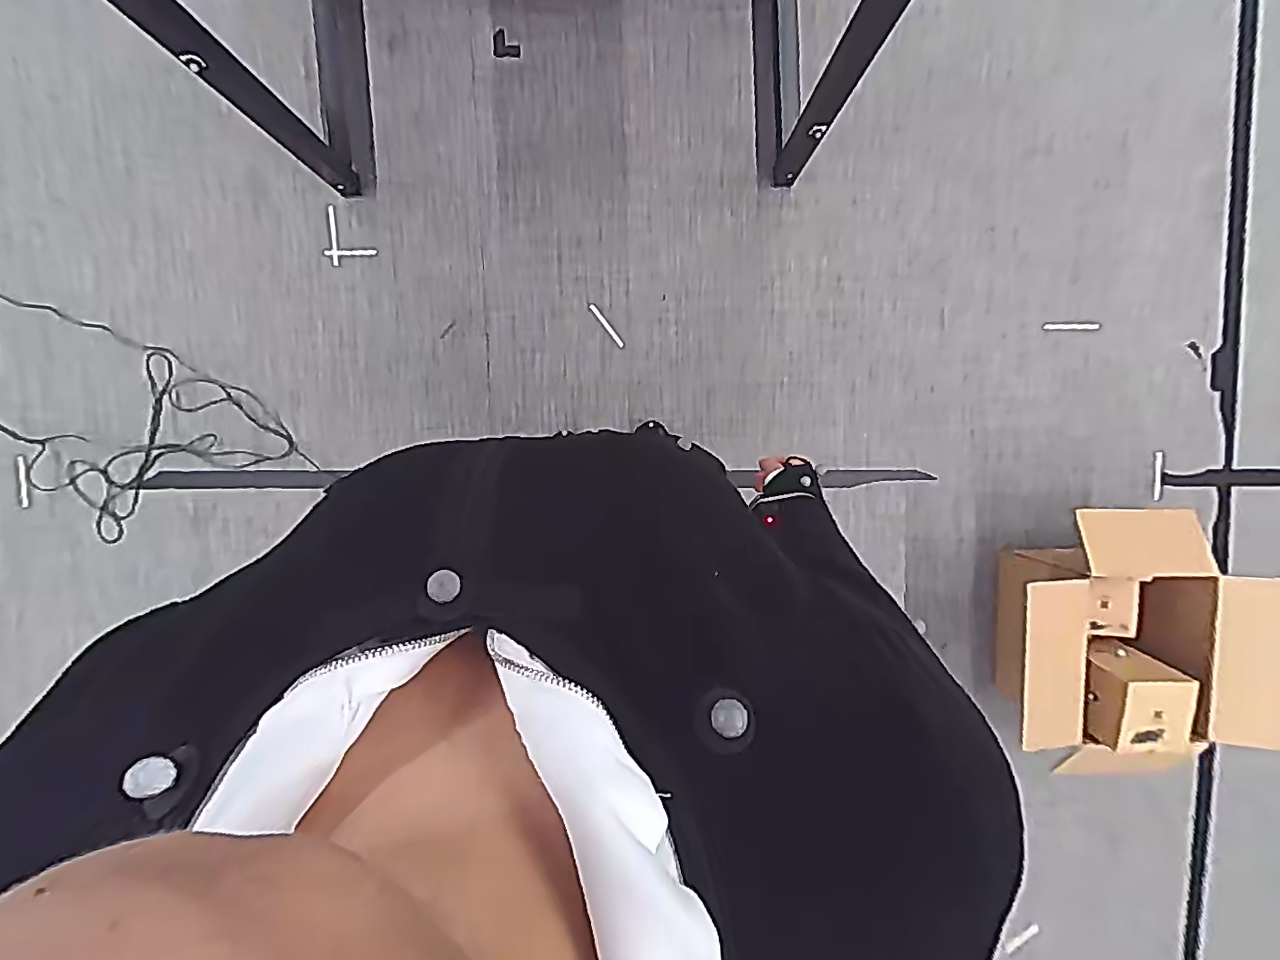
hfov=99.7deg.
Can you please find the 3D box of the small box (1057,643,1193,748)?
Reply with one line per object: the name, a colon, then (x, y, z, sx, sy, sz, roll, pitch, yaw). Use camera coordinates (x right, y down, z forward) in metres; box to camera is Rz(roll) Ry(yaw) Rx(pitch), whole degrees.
small box: (1.149, 0.512, 1.297, 0.168, 0.176, 0.179, 1, 99, -2)
